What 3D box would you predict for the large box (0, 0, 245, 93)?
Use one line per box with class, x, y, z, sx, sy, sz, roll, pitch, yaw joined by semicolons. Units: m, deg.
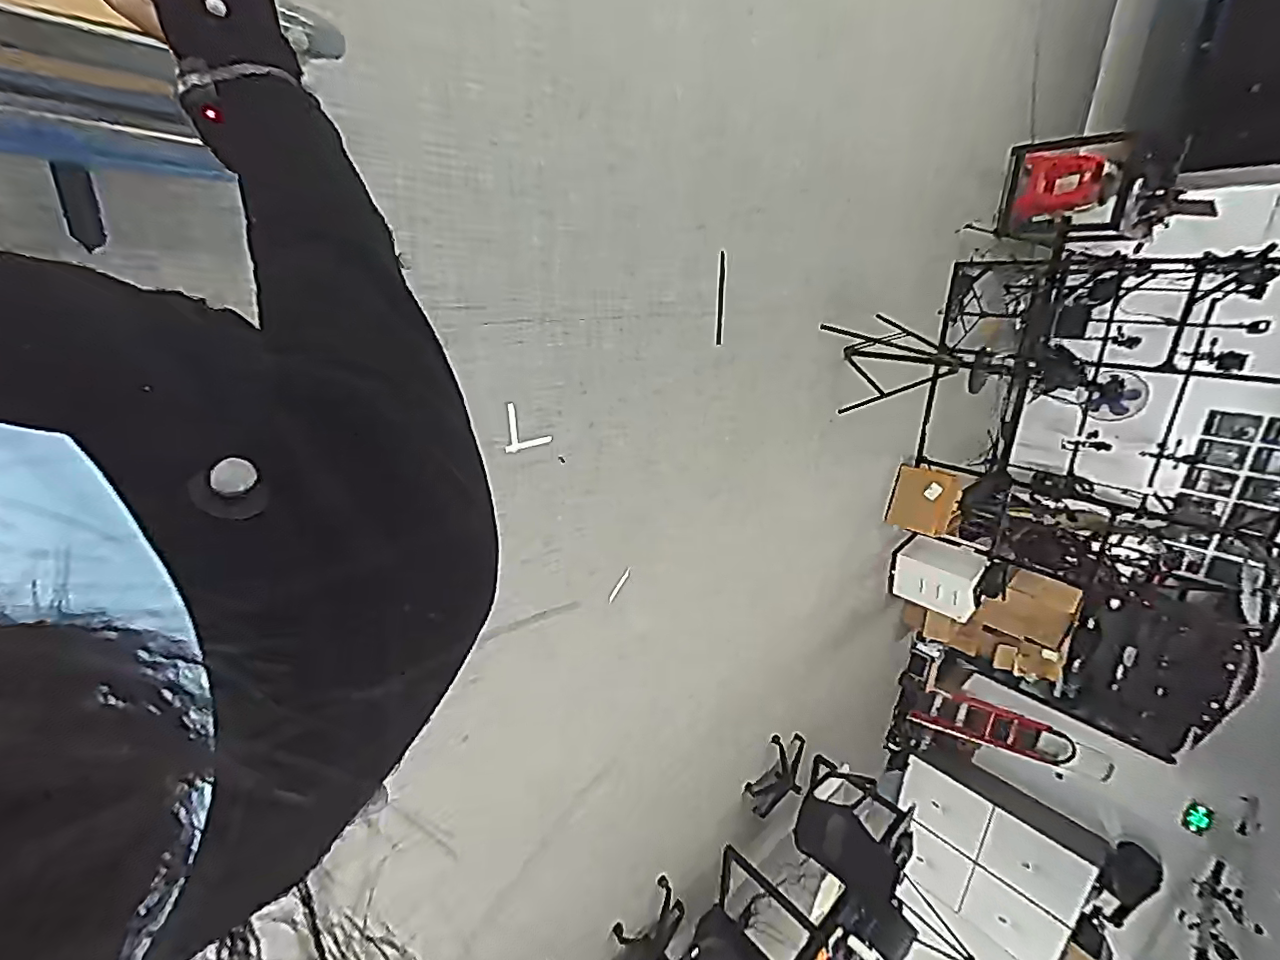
large box;-0.795;-0.730;0.668;0.408;0.320;0.320;-19;119;-40
